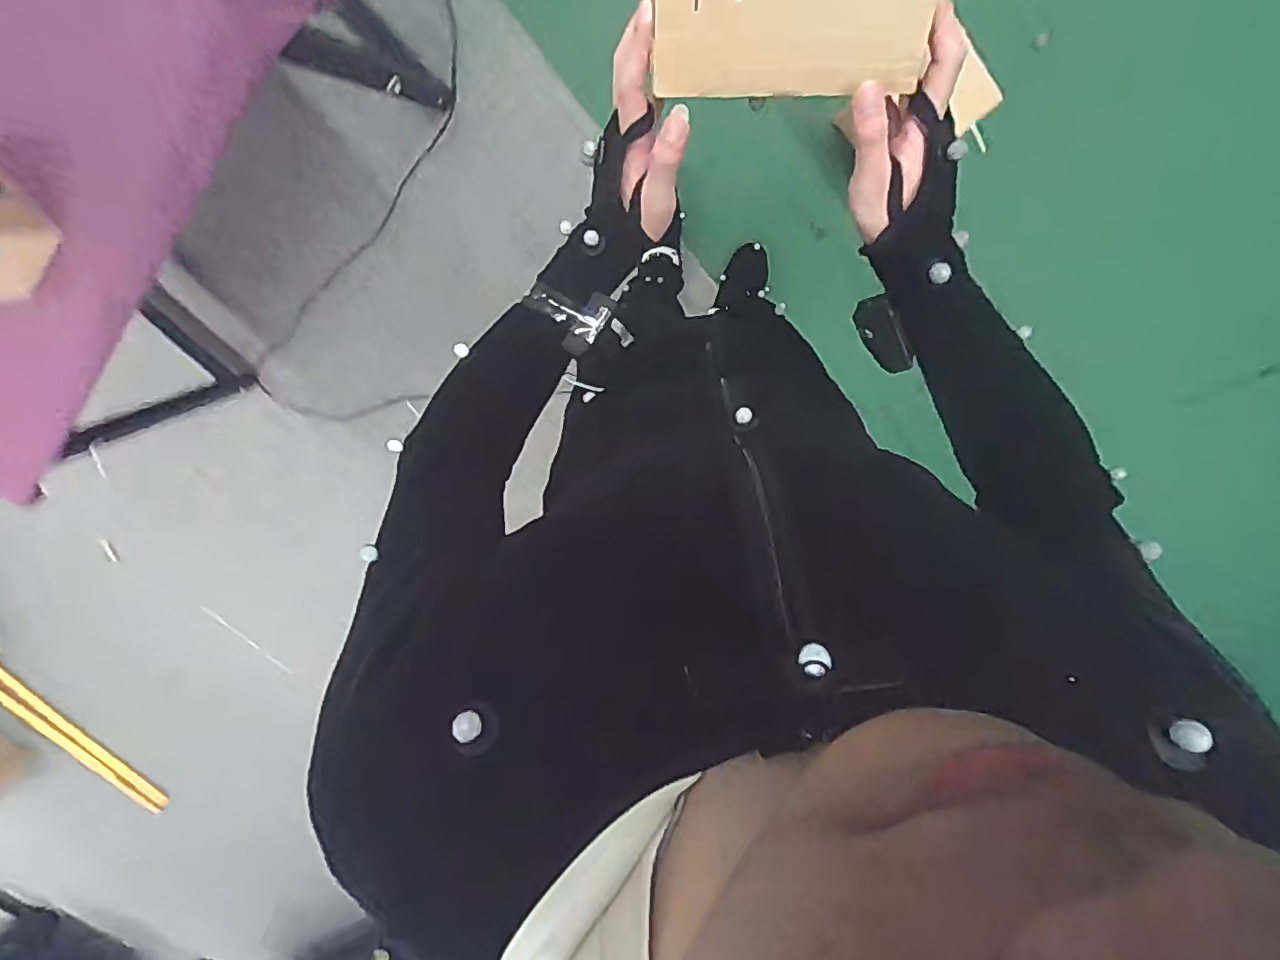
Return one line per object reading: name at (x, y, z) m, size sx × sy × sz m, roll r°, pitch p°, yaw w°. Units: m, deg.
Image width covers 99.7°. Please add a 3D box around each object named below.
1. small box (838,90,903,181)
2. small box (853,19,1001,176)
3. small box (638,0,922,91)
small box at (0.563, -0.788, 1.183) m, size 0.168 × 0.176 × 0.179 m, roll -40°, pitch 104°, yaw 24°
small box at (0.539, -0.716, 1.039) m, size 0.168 × 0.176 × 0.179 m, roll -38°, pitch 104°, yaw 24°
small box at (0.094, -0.375, 0.370) m, size 0.179 × 0.176 × 0.168 m, roll 3°, pitch 132°, yaw 6°
